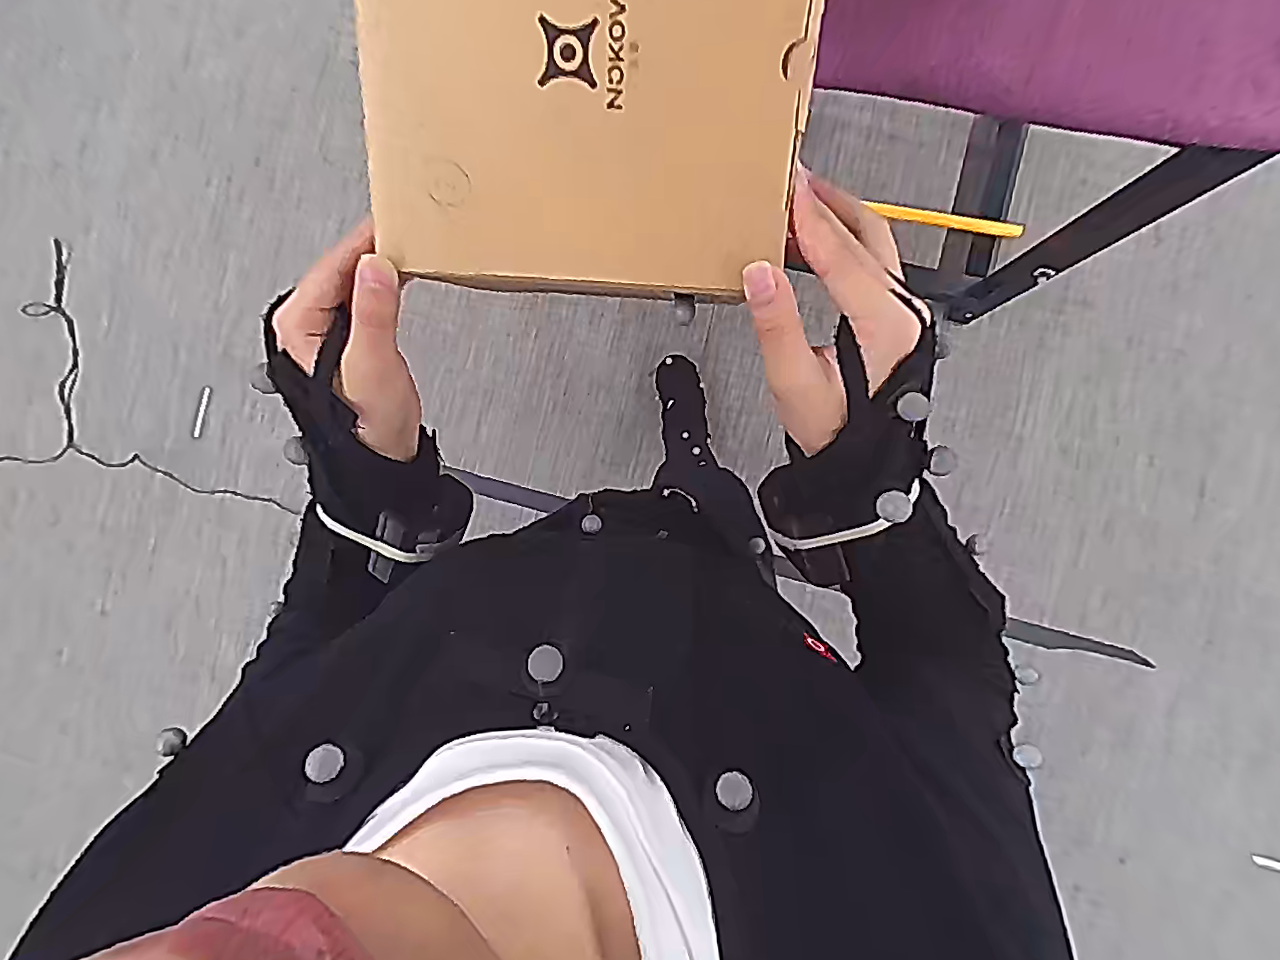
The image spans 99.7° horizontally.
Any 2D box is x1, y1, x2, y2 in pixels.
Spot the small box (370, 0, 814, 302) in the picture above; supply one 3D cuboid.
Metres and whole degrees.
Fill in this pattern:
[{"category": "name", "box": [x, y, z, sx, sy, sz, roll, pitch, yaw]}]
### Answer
[{"category": "small box", "box": [-0.018, -0.189, 0.290, 0.179, 0.176, 0.168, 4, 106, 1]}]
